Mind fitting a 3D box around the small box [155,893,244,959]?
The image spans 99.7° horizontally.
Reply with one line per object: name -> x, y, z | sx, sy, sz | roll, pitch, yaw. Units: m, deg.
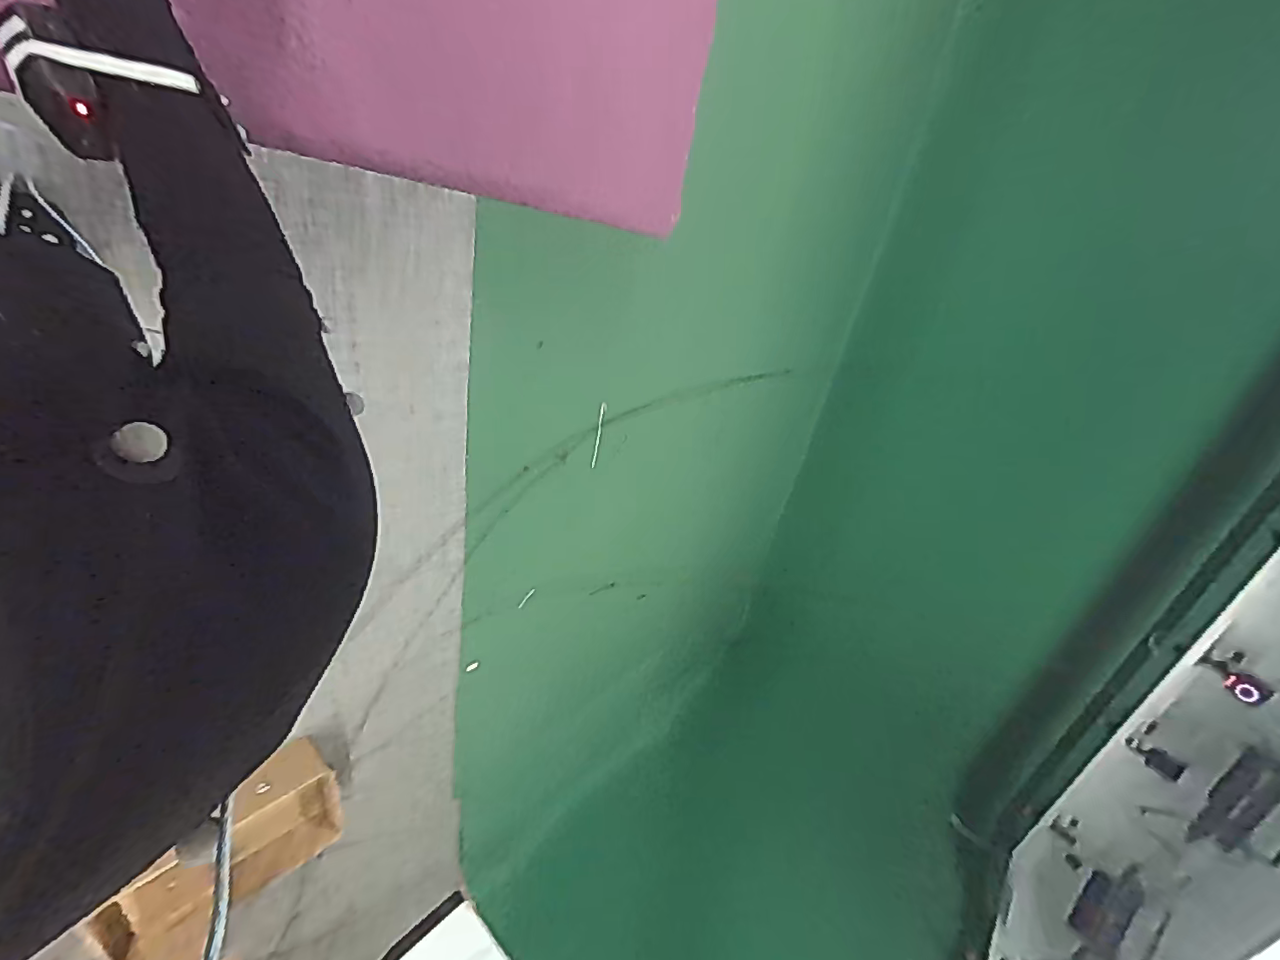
small box -> -1.250, 1.343, 1.551 | 0.168, 0.176, 0.179 | -23, 133, -46

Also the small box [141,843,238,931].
small box -> -1.377, 1.262, 1.653 | 0.168, 0.176, 0.179 | -29, 137, -43

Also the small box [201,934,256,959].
small box -> -1.138, 1.398, 1.473 | 0.168, 0.176, 0.179 | -22, 132, -45
